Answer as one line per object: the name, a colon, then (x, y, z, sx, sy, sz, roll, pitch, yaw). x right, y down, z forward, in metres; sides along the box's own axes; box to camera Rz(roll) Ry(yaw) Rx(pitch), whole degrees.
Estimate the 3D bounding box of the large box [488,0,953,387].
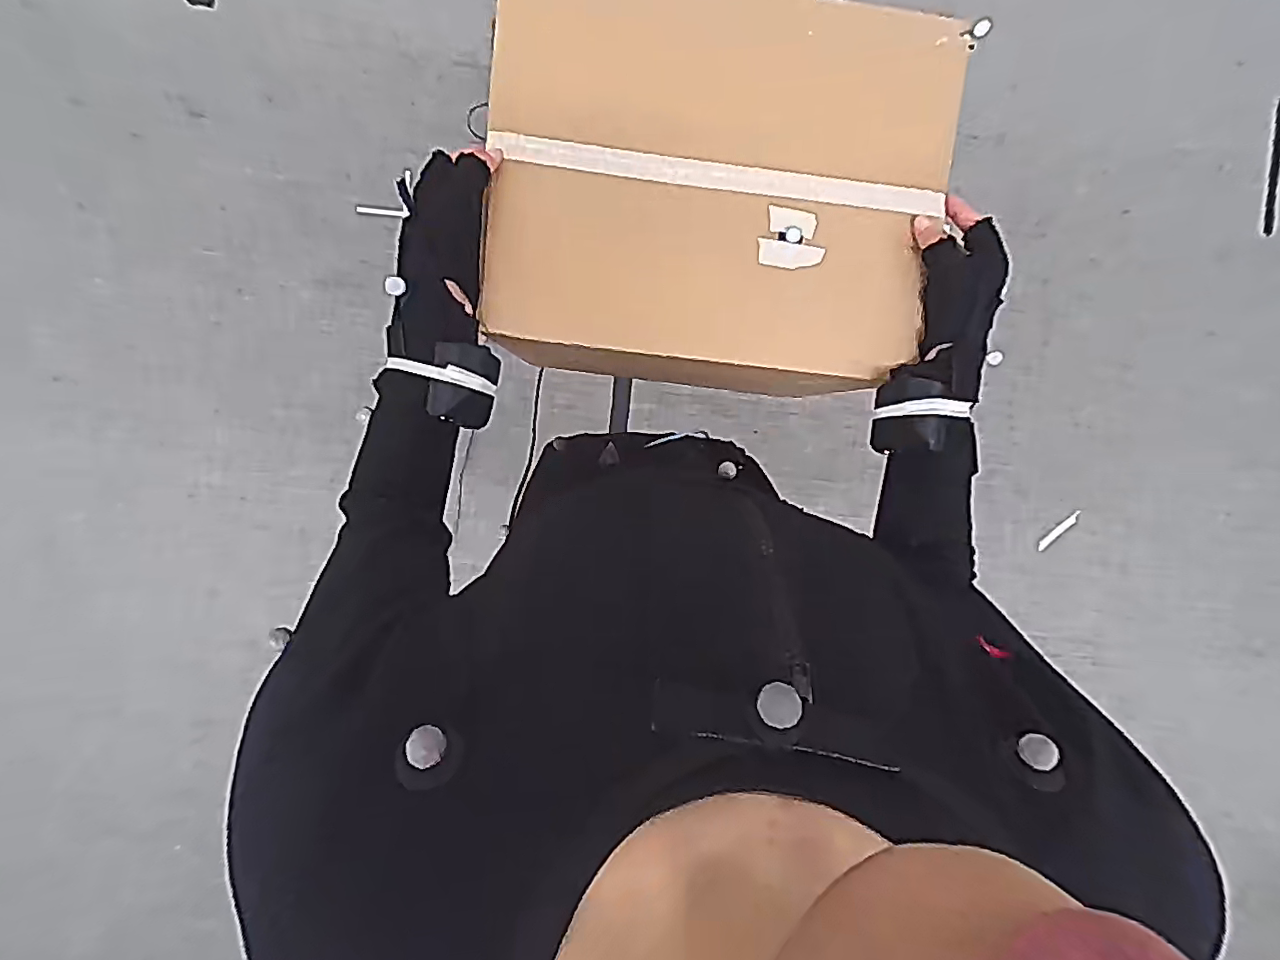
large box: (0.061, -0.289, 0.635, 0.408, 0.320, 0.320, 6, 98, -5)
